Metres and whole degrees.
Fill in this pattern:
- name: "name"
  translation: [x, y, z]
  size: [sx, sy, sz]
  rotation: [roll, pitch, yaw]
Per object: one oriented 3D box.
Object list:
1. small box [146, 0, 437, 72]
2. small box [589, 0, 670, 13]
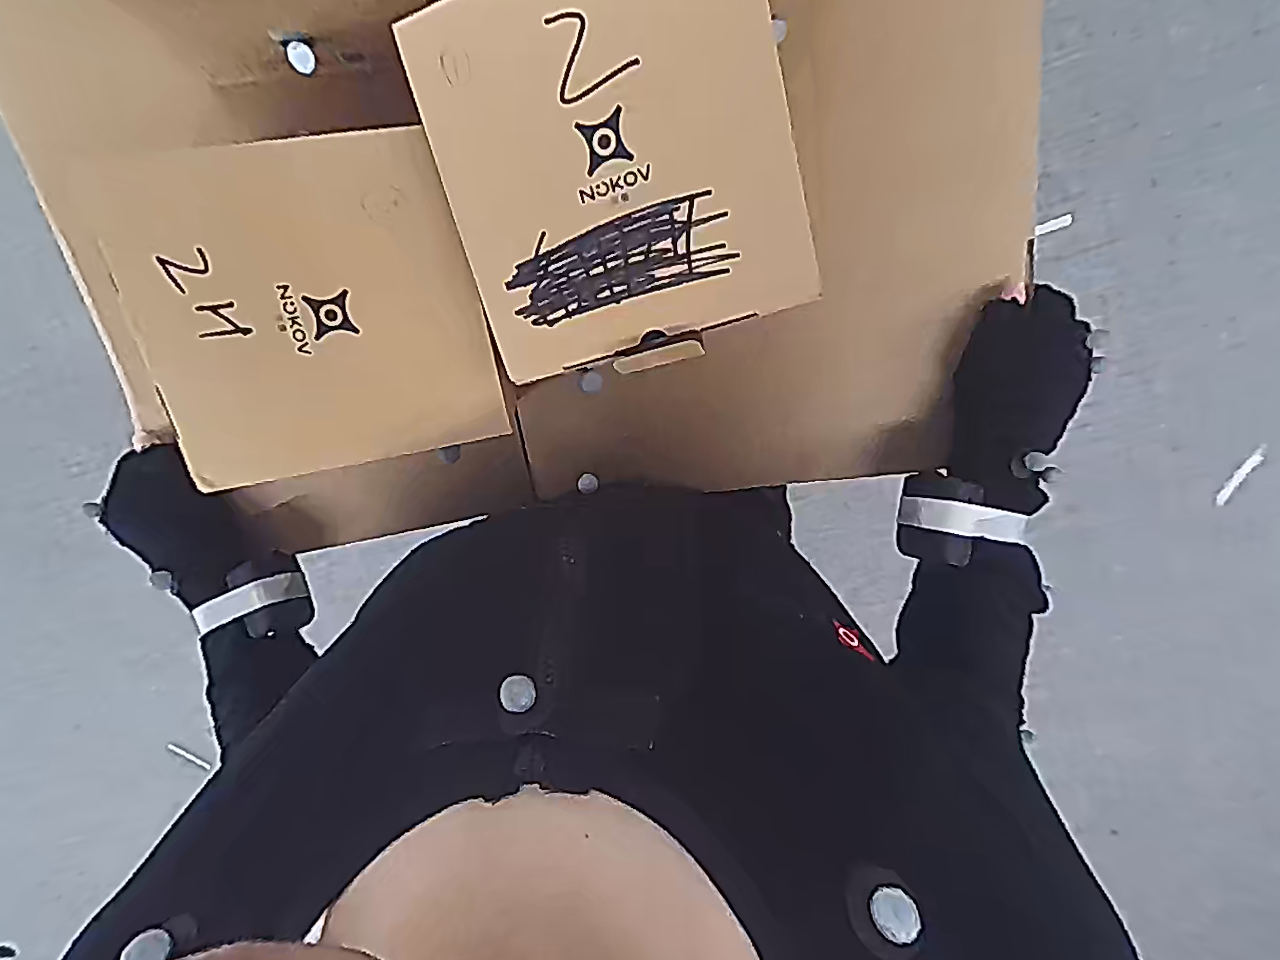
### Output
- name: "small box"
  translation: [-0.224, -0.366, 0.295]
  size: [0.168, 0.176, 0.179]
  rotation: [-12, 107, -8]
- name: "small box"
  translation: [0.017, -0.379, 0.266]
  size: [0.168, 0.176, 0.179]
  rotation: [-5, 105, 12]
